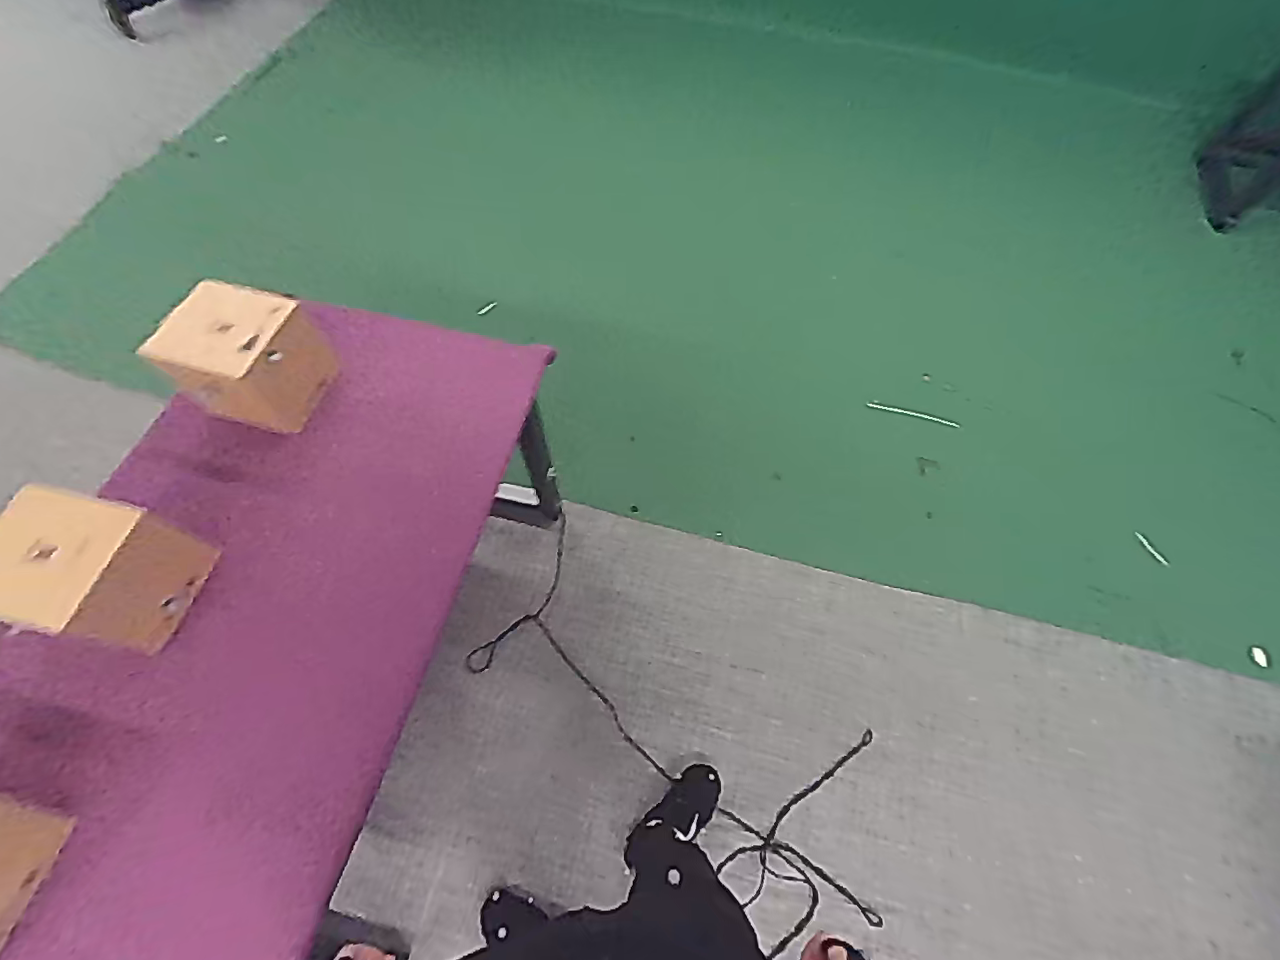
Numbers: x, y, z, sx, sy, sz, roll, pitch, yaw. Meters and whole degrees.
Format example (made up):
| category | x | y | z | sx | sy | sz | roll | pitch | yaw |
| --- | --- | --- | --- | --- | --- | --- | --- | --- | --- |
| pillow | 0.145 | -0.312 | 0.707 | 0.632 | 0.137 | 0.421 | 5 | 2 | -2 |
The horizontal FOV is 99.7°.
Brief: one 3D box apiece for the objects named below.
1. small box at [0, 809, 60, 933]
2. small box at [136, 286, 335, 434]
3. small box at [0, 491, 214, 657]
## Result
| category | x | y | z | sx | sy | sz | roll | pitch | yaw |
| --- | --- | --- | --- | --- | --- | --- | --- | --- | --- |
| small box | -0.820 | 0.457 | 0.584 | 0.179 | 0.176 | 0.168 | 12 | 63 | 5 |
| small box | -0.675 | -0.198 | 0.928 | 0.179 | 0.176 | 0.168 | 13 | 64 | 6 |
| small box | -0.765 | 0.137 | 0.753 | 0.179 | 0.176 | 0.168 | 12 | 64 | 4 |
